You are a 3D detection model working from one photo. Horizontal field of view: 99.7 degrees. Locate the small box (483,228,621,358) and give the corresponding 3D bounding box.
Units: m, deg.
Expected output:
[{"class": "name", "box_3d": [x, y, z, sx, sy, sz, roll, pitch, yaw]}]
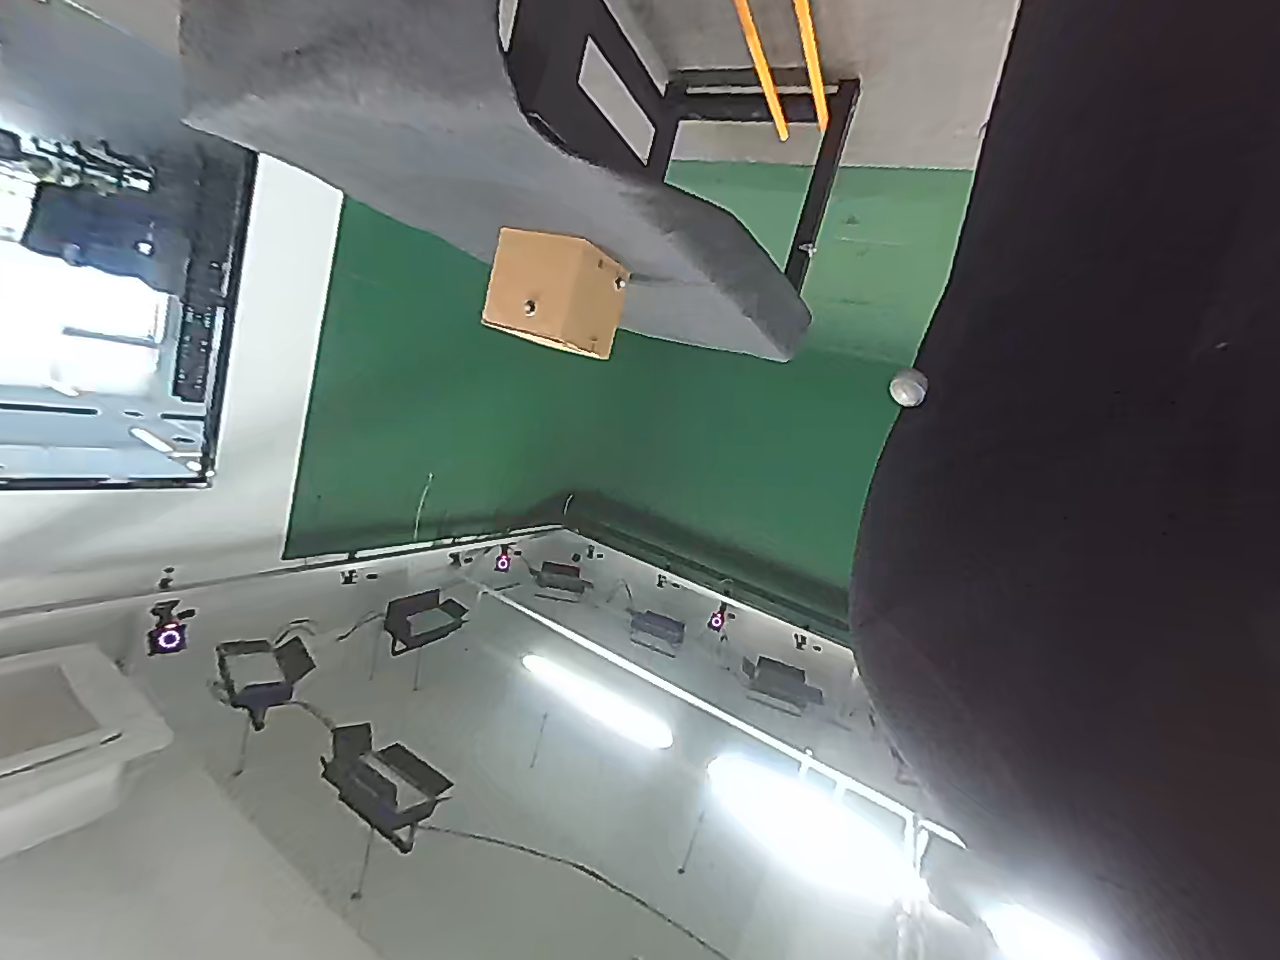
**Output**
[{"class": "small box", "box_3d": [-0.149, -0.333, 0.972, 0.179, 0.176, 0.168, 20, -171, 24]}]
